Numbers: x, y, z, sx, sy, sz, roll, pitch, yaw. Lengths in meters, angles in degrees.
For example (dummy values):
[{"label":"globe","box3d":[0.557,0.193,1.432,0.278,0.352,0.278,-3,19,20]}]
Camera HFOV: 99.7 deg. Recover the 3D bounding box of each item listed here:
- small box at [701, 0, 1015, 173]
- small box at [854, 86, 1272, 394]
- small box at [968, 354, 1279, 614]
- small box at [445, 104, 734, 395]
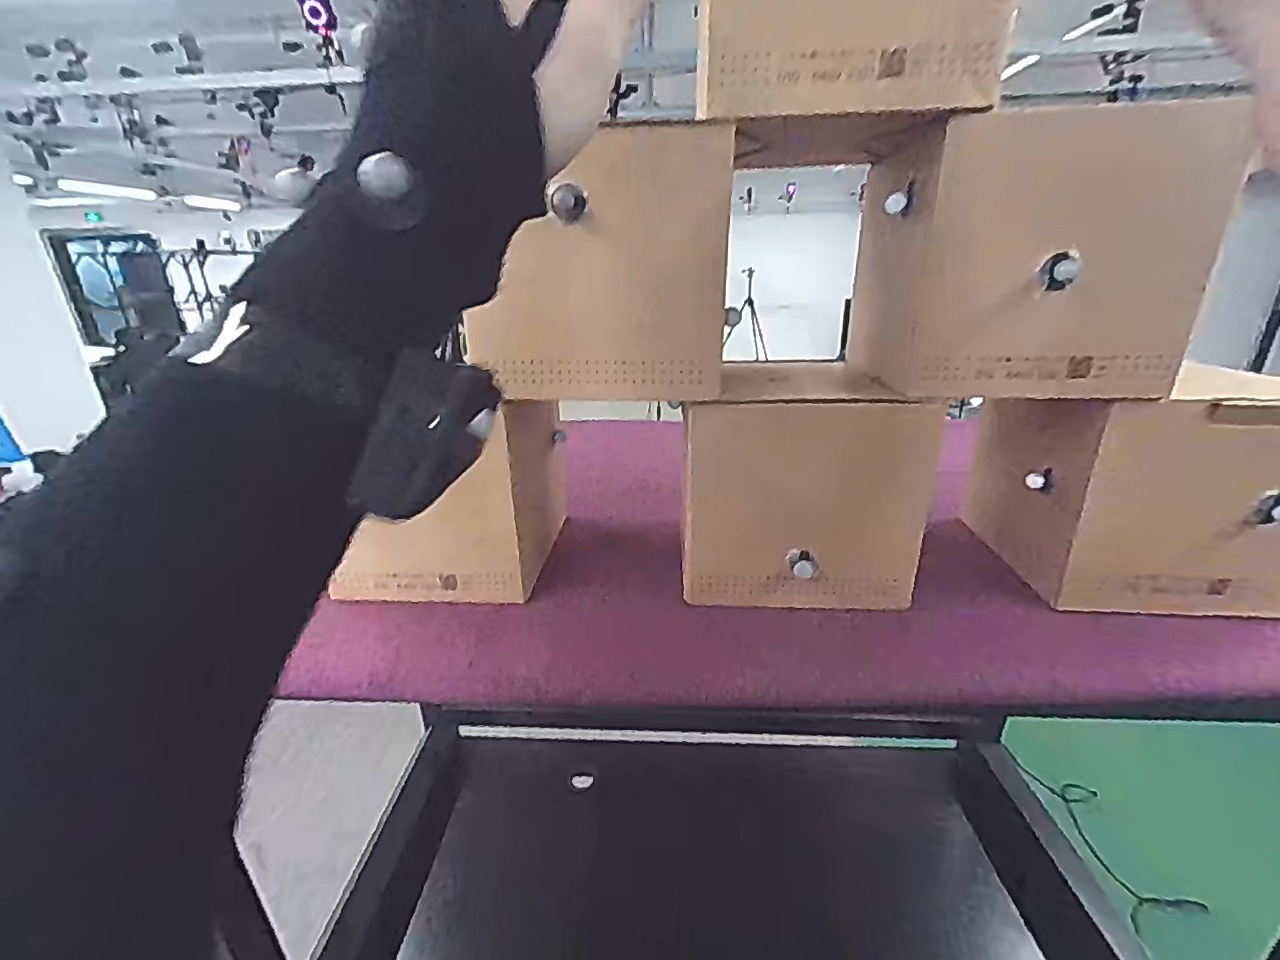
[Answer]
[{"label":"small box","box3d":[0.125,-0.314,0.353,0.168,0.176,0.179,0,20,4]},{"label":"small box","box3d":[0.269,-0.161,0.401,0.168,0.176,0.179,1,21,7]},{"label":"small box","box3d":[0.405,-0.007,0.448,0.168,0.176,0.179,2,20,7]},{"label":"small box","box3d":[-0.023,-0.162,0.415,0.179,0.176,0.168,2,21,5]}]
